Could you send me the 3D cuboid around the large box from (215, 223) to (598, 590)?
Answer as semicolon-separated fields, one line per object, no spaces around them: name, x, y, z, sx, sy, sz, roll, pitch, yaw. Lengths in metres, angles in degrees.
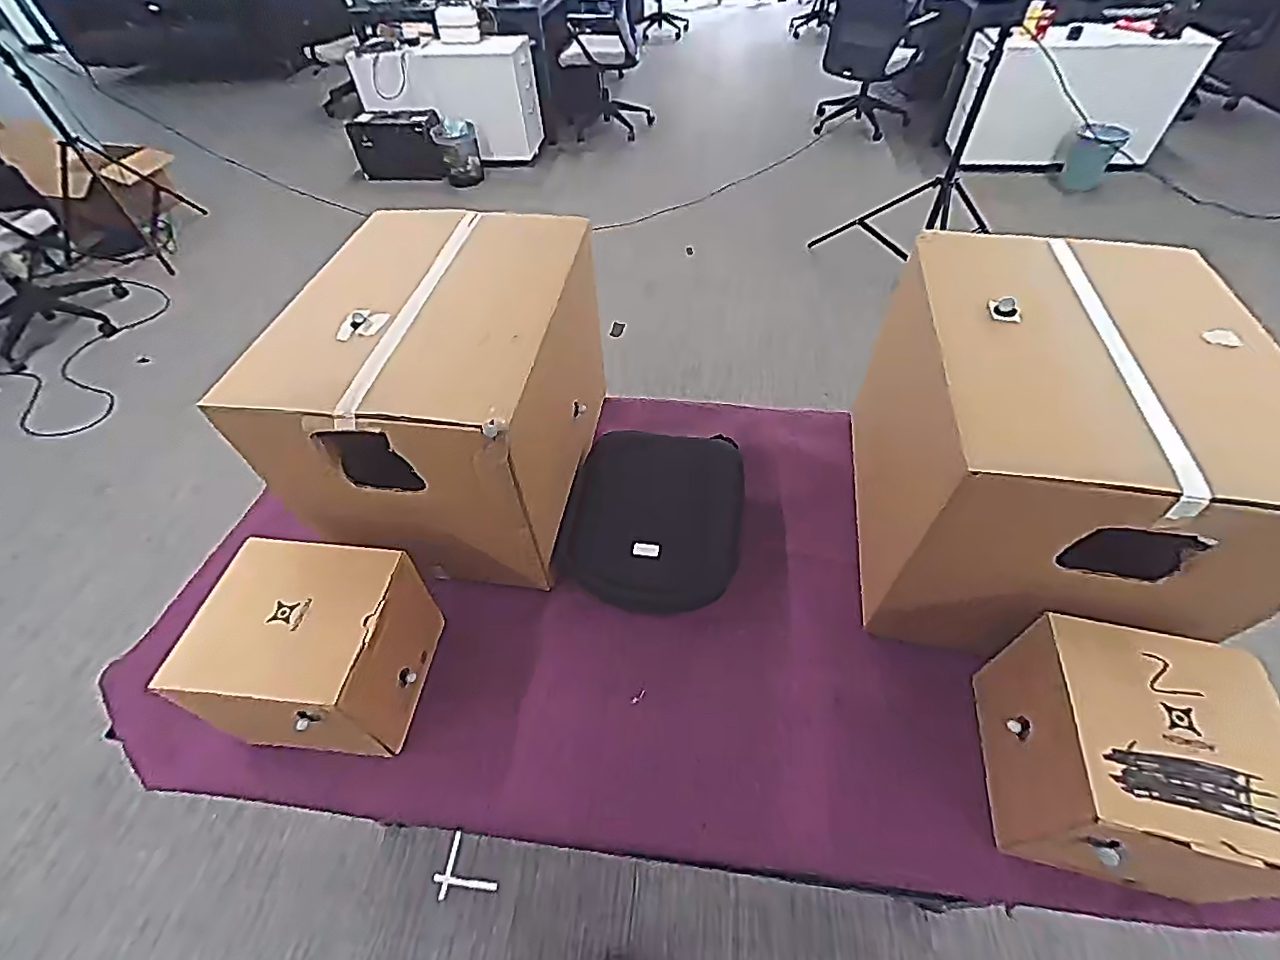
large box;-0.246;-0.105;0.755;0.320;0.320;0.408;4;53;6

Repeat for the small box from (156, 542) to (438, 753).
small box;-0.351;0.188;0.599;0.179;0.176;0.168;4;49;2
